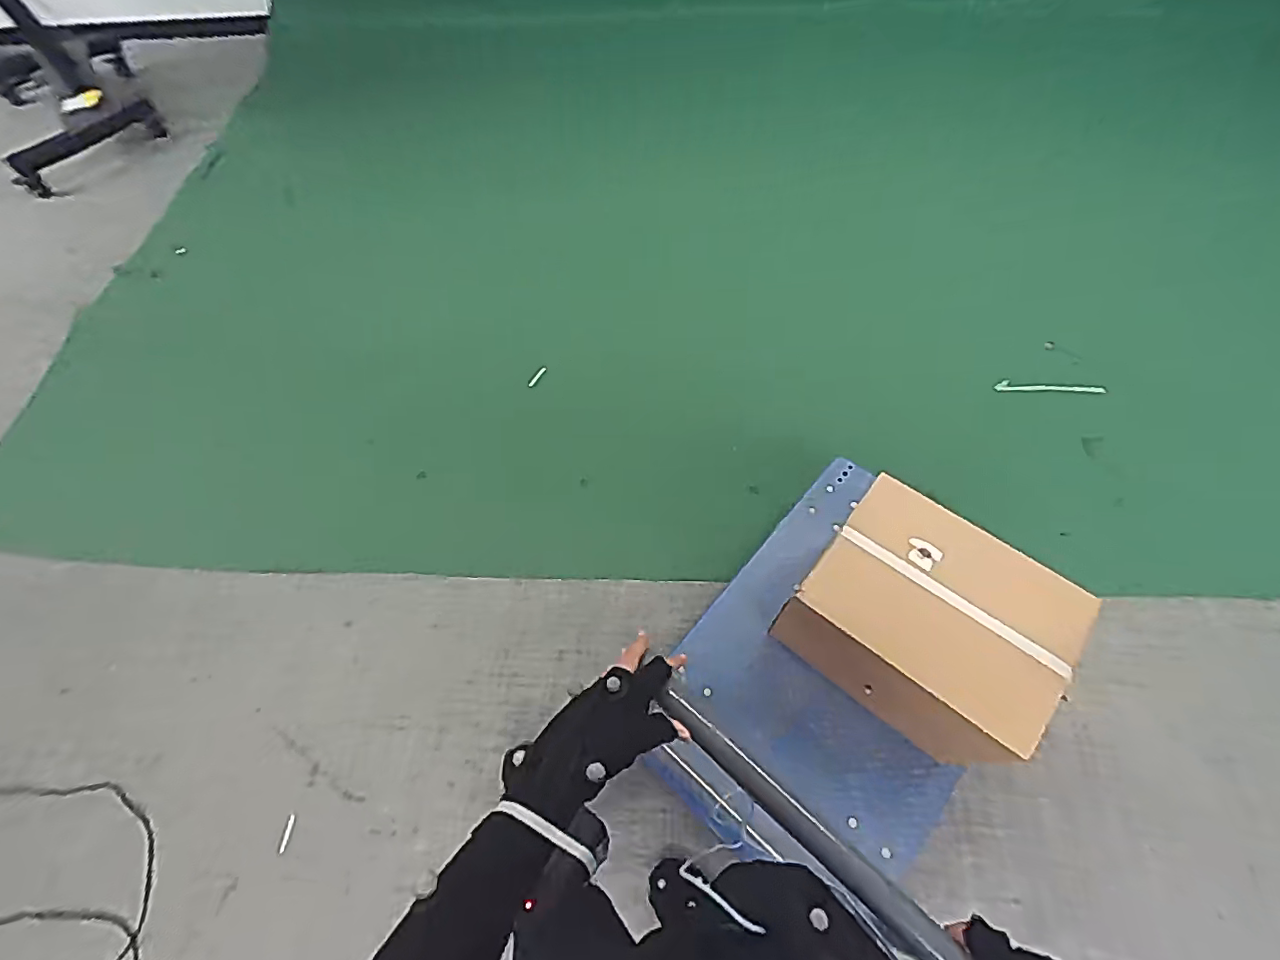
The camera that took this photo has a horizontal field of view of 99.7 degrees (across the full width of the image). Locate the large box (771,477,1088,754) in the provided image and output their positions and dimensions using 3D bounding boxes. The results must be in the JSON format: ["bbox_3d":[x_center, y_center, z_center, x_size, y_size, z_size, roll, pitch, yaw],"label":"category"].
[{"bbox_3d":[0.525,0.272,1.061,0.408,0.320,0.320,34,68,20],"label":"large box"}]
